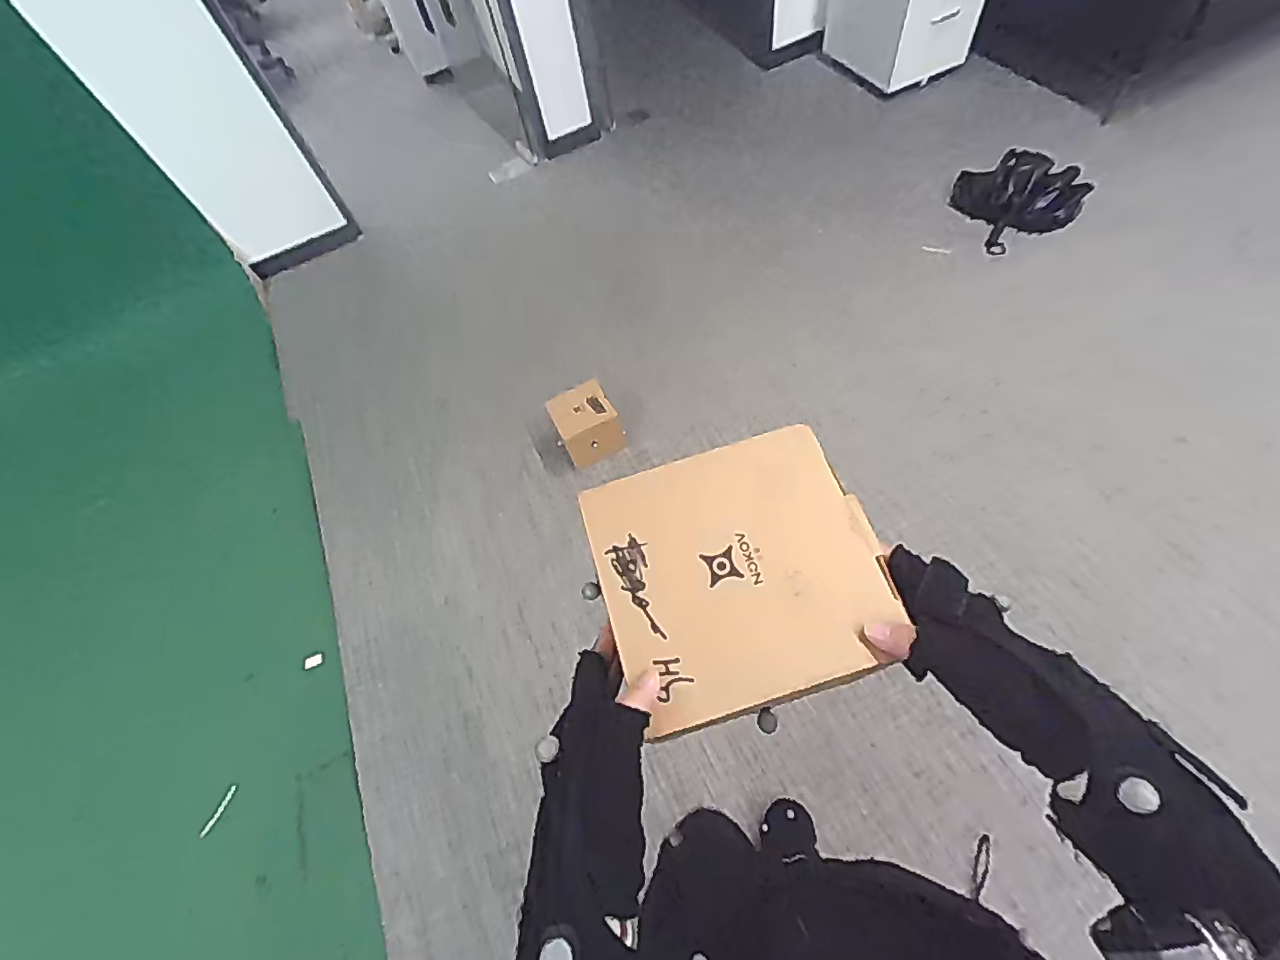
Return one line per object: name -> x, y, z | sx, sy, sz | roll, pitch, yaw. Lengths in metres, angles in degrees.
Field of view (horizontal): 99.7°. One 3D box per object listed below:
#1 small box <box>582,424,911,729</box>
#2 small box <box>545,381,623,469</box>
small box -> 0.066, 0.085, 0.426 | 0.179, 0.176, 0.168 | -16, 63, -3
small box -> -0.163, -0.164, 1.654 | 0.179, 0.176, 0.168 | -27, 60, -5
